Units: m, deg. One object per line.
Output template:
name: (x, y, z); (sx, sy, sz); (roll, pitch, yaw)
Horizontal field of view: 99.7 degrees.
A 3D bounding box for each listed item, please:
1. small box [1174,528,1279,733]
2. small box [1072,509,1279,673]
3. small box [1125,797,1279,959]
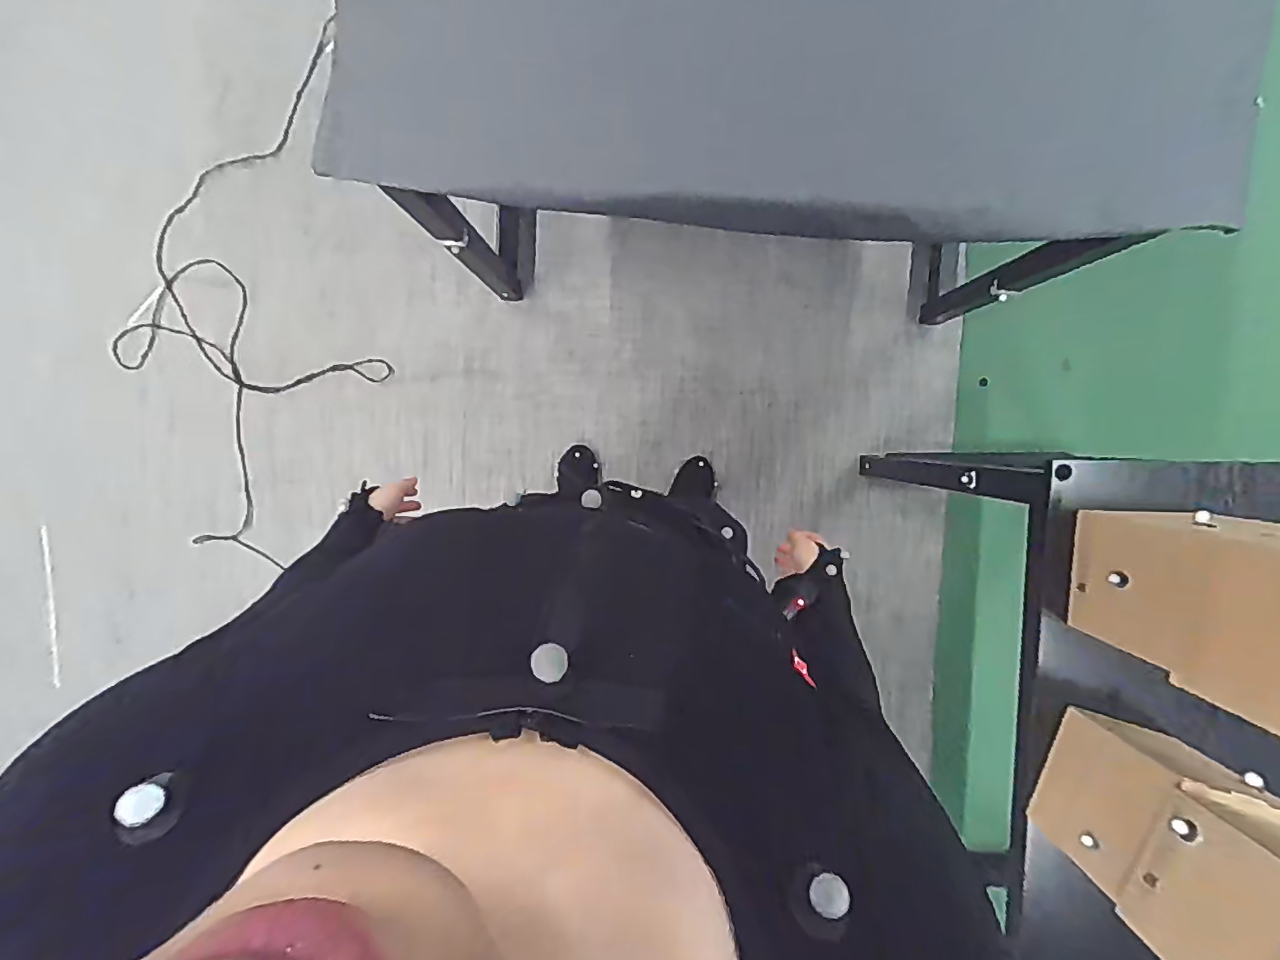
small box: (0.663, 0.148, 0.506); (0.168, 0.176, 0.179); (1, 94, 2)
small box: (0.683, 0.130, 0.666); (0.179, 0.176, 0.168); (1, 96, 1)
small box: (0.647, 0.453, 0.529); (0.179, 0.176, 0.168); (19, 96, -1)
